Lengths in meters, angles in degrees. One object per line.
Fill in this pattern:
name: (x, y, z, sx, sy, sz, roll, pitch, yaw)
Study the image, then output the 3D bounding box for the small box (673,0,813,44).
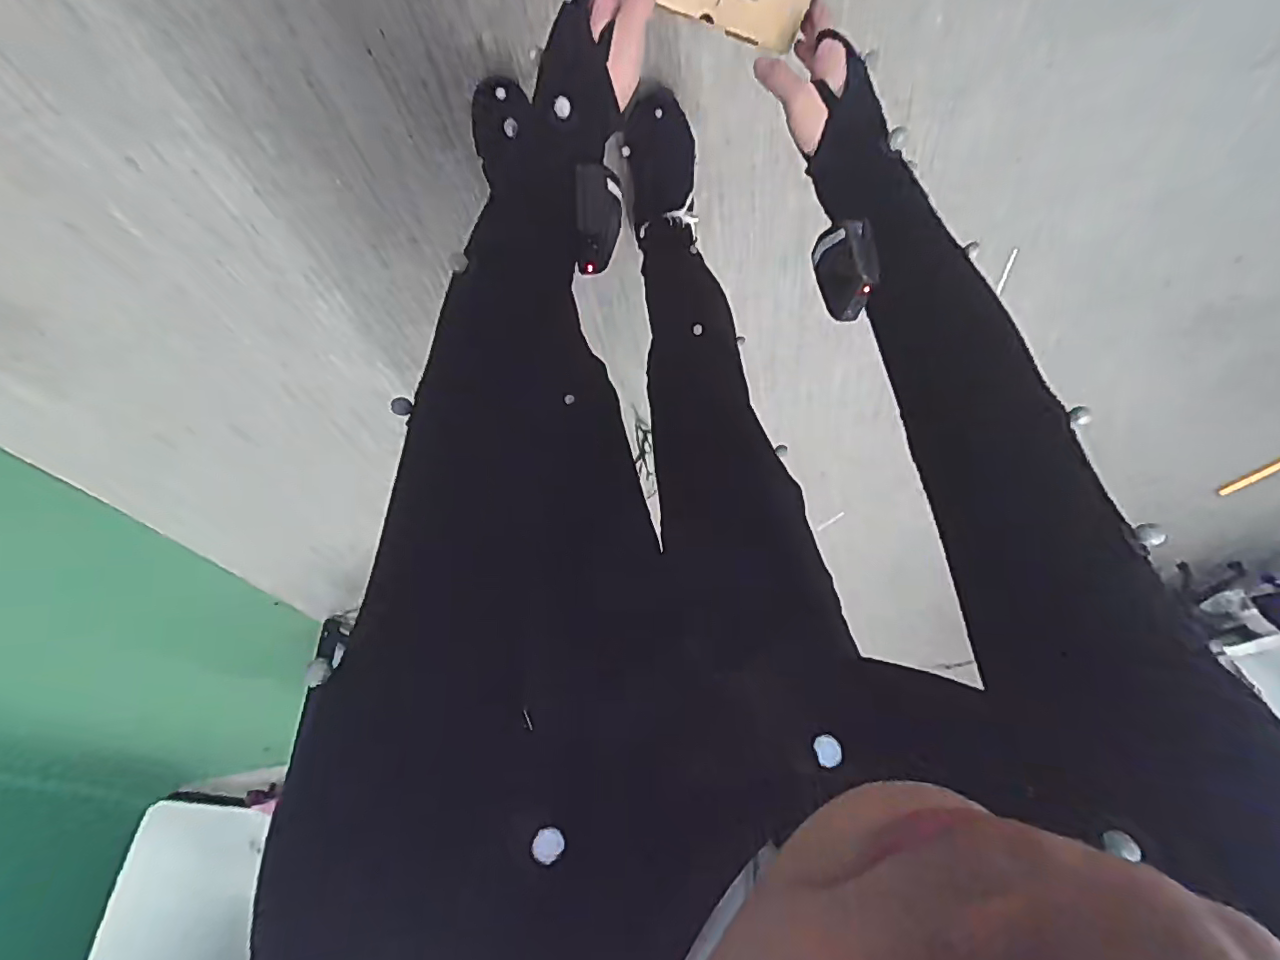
small box: (0.079, -0.513, 0.442, 0.168, 0.176, 0.179, 5, 143, -18)
